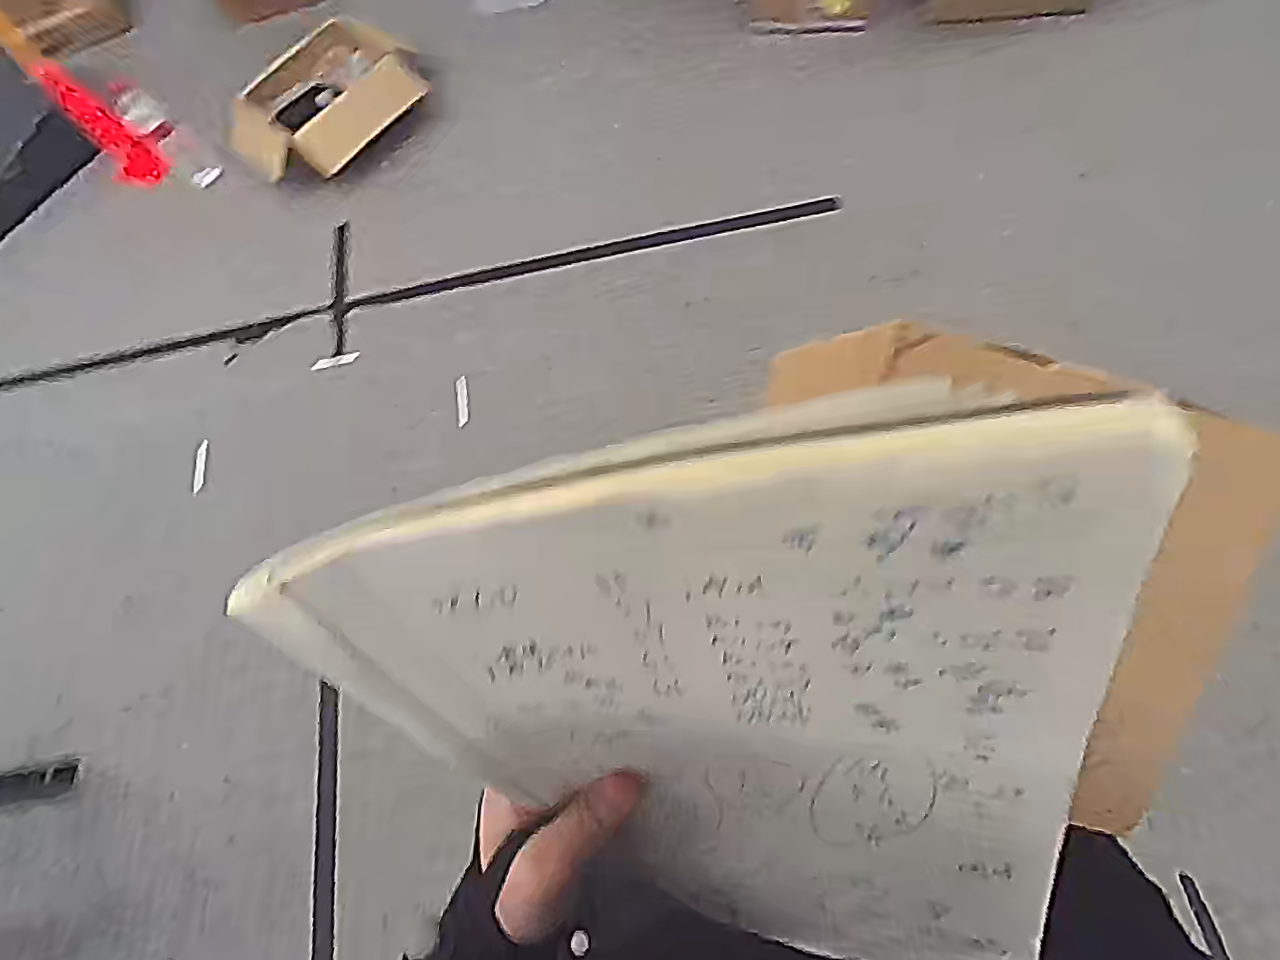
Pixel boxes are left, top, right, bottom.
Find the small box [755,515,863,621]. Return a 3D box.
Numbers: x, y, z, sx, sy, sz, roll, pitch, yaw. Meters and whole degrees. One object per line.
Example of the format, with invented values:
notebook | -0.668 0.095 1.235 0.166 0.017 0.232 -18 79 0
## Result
small box | 0.381 0.209 1.254 0.168 0.176 0.179 30 80 13
